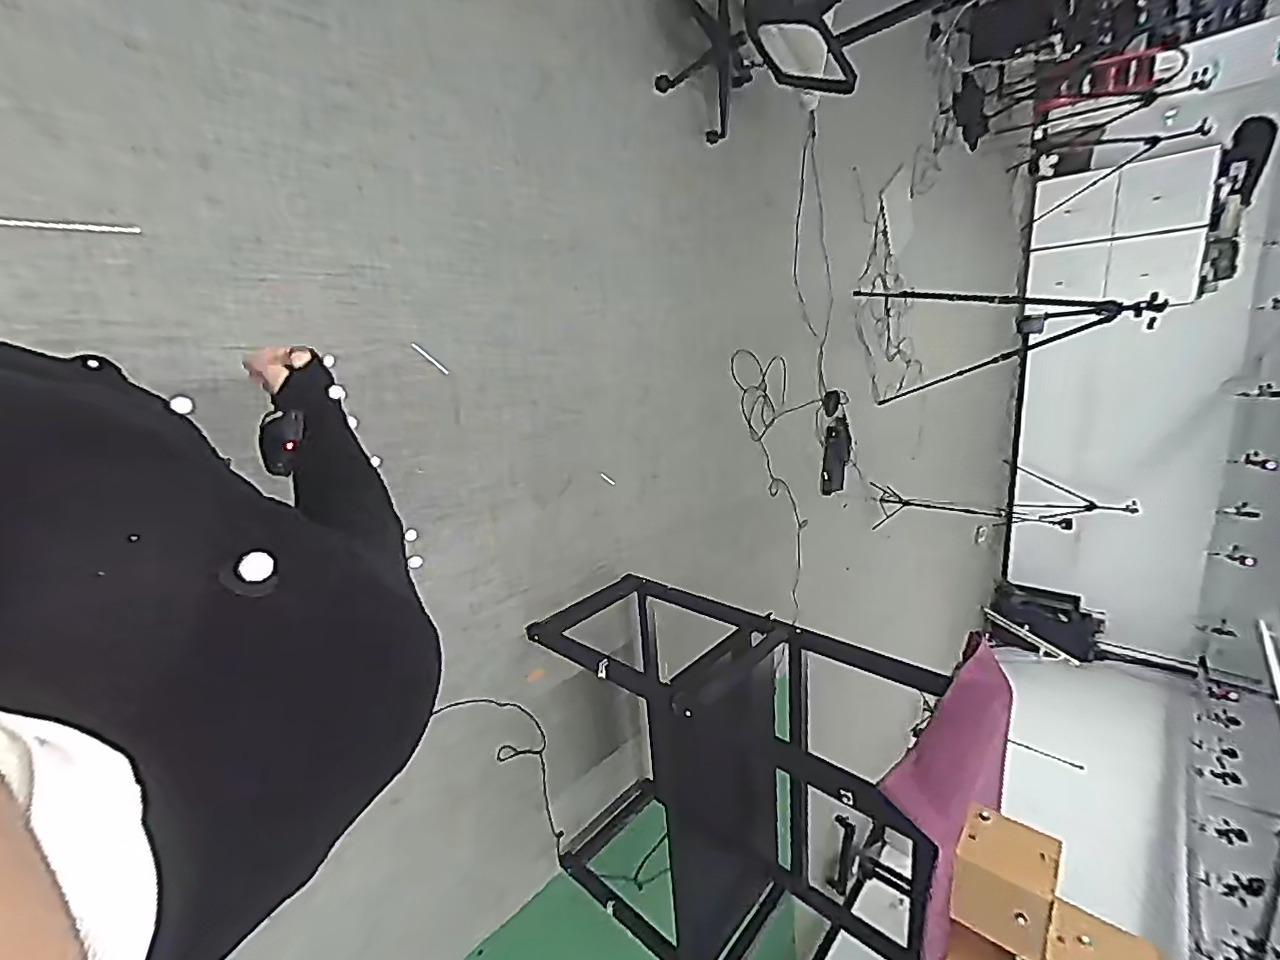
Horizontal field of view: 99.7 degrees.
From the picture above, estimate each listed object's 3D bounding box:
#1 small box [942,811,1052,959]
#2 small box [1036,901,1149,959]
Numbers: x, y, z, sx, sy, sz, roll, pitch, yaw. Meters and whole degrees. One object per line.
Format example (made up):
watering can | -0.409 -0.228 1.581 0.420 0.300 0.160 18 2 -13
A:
small box | 0.756 0.847 1.151 0.168 0.176 0.179 -18 111 -45
small box | 0.891 1.011 1.083 0.168 0.176 0.179 -17 109 -47
